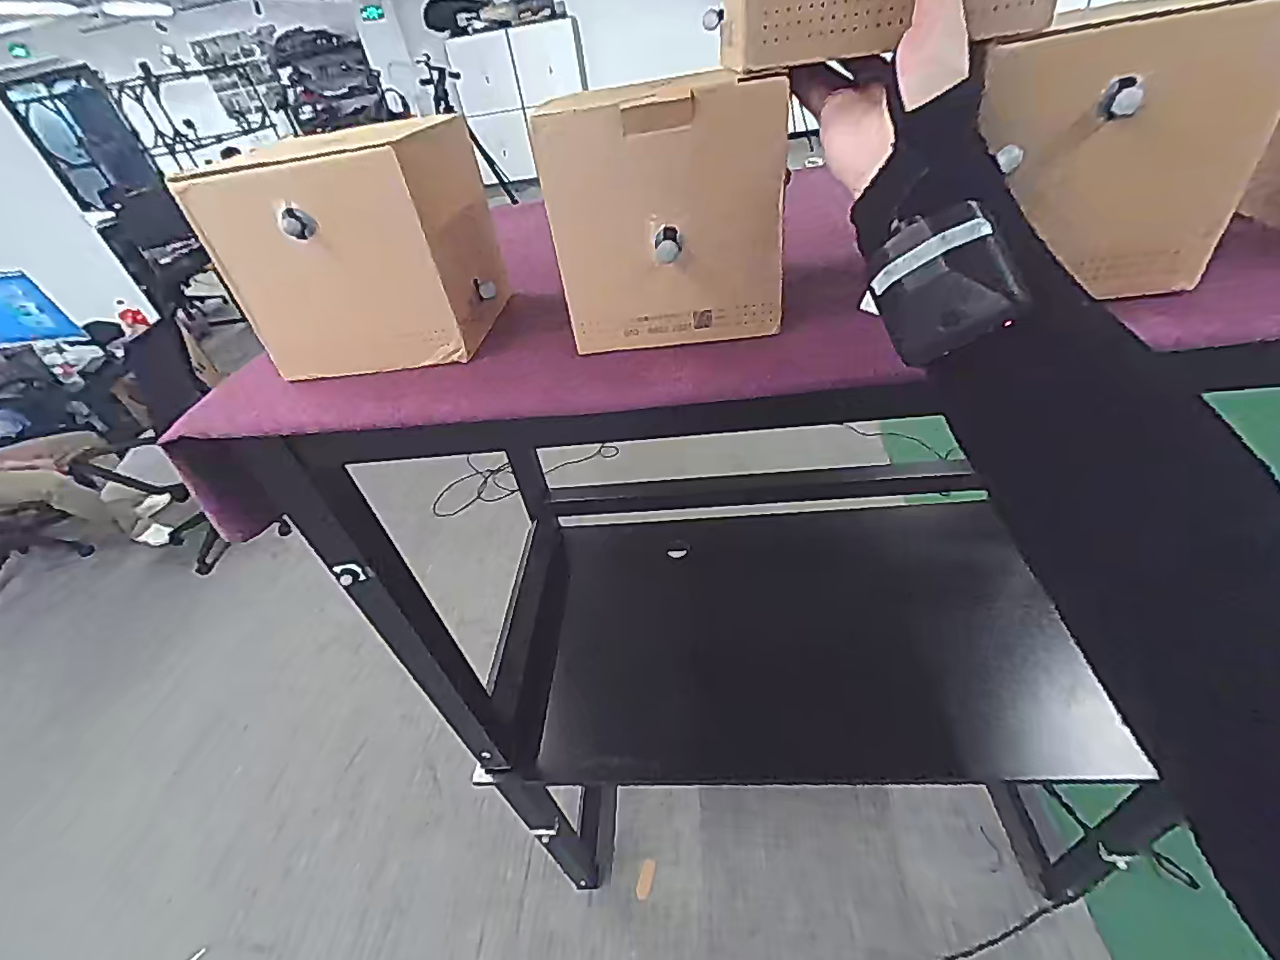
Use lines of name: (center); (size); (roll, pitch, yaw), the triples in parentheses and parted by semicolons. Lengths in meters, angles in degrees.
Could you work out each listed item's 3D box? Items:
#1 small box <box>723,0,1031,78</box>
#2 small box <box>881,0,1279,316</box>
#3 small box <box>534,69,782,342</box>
small box: (0.143, -0.366, 0.339); (0.179, 0.176, 0.168); (-3, 38, 5)
small box: (0.306, -0.243, 0.418); (0.179, 0.176, 0.168); (-5, 38, 9)
small box: (0.026, -0.226, 0.455); (0.168, 0.176, 0.179); (-4, 39, 7)
